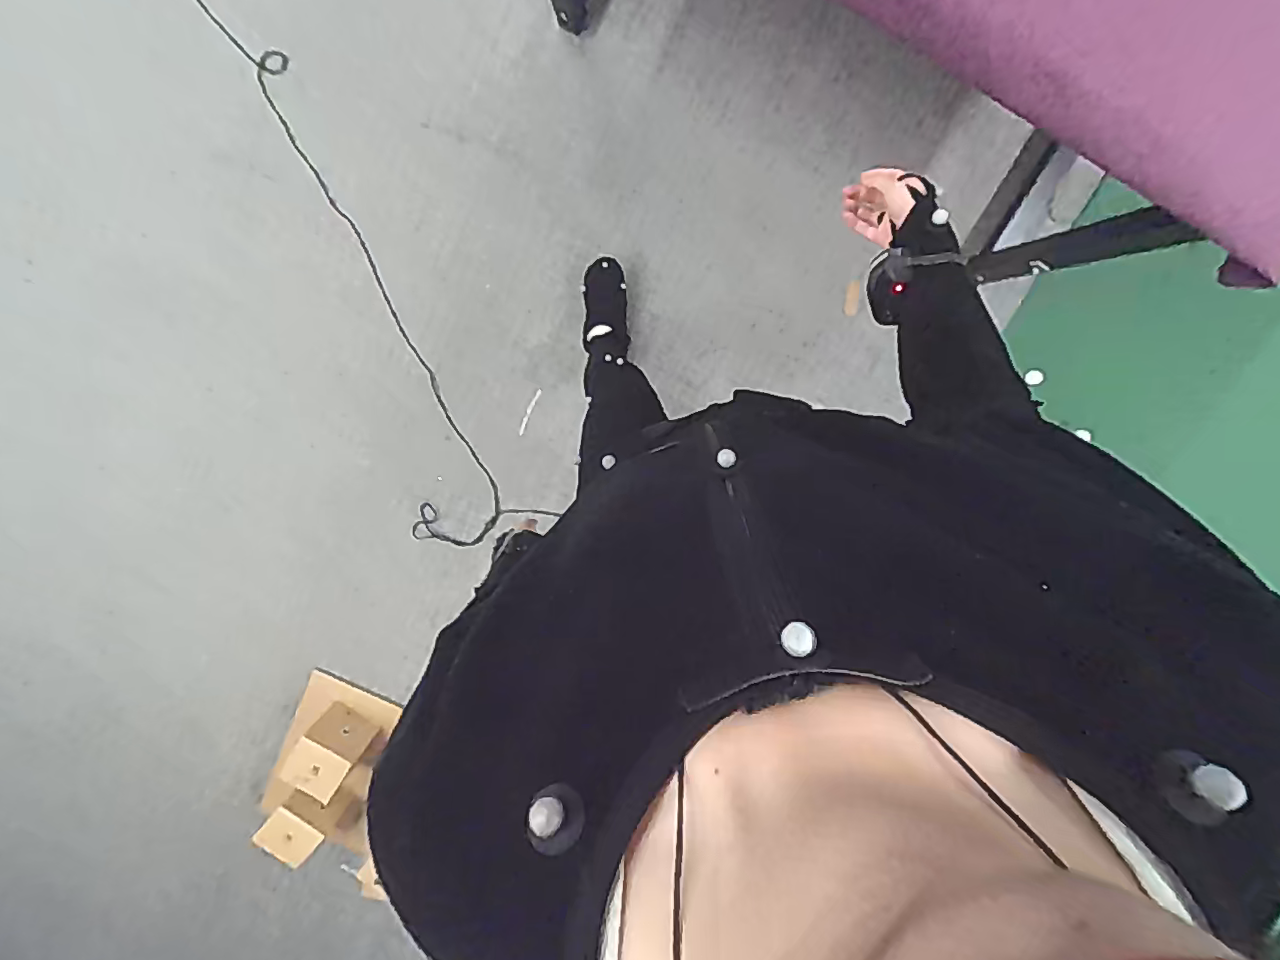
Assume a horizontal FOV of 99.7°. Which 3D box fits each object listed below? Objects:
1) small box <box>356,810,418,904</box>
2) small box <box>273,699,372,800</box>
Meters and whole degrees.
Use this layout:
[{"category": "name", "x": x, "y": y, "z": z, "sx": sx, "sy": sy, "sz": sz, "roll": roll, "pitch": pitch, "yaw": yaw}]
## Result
[{"category": "small box", "x": -0.768, "y": 1.192, "z": 1.721, "sx": 0.179, "sy": 0.176, "sz": 0.168, "roll": 13, "pitch": 104, "yaw": 0}, {"category": "small box", "x": -0.943, "y": 0.802, "z": 1.627, "sx": 0.168, "sy": 0.176, "sz": 0.179, "roll": 34, "pitch": 103, "yaw": -5}]
